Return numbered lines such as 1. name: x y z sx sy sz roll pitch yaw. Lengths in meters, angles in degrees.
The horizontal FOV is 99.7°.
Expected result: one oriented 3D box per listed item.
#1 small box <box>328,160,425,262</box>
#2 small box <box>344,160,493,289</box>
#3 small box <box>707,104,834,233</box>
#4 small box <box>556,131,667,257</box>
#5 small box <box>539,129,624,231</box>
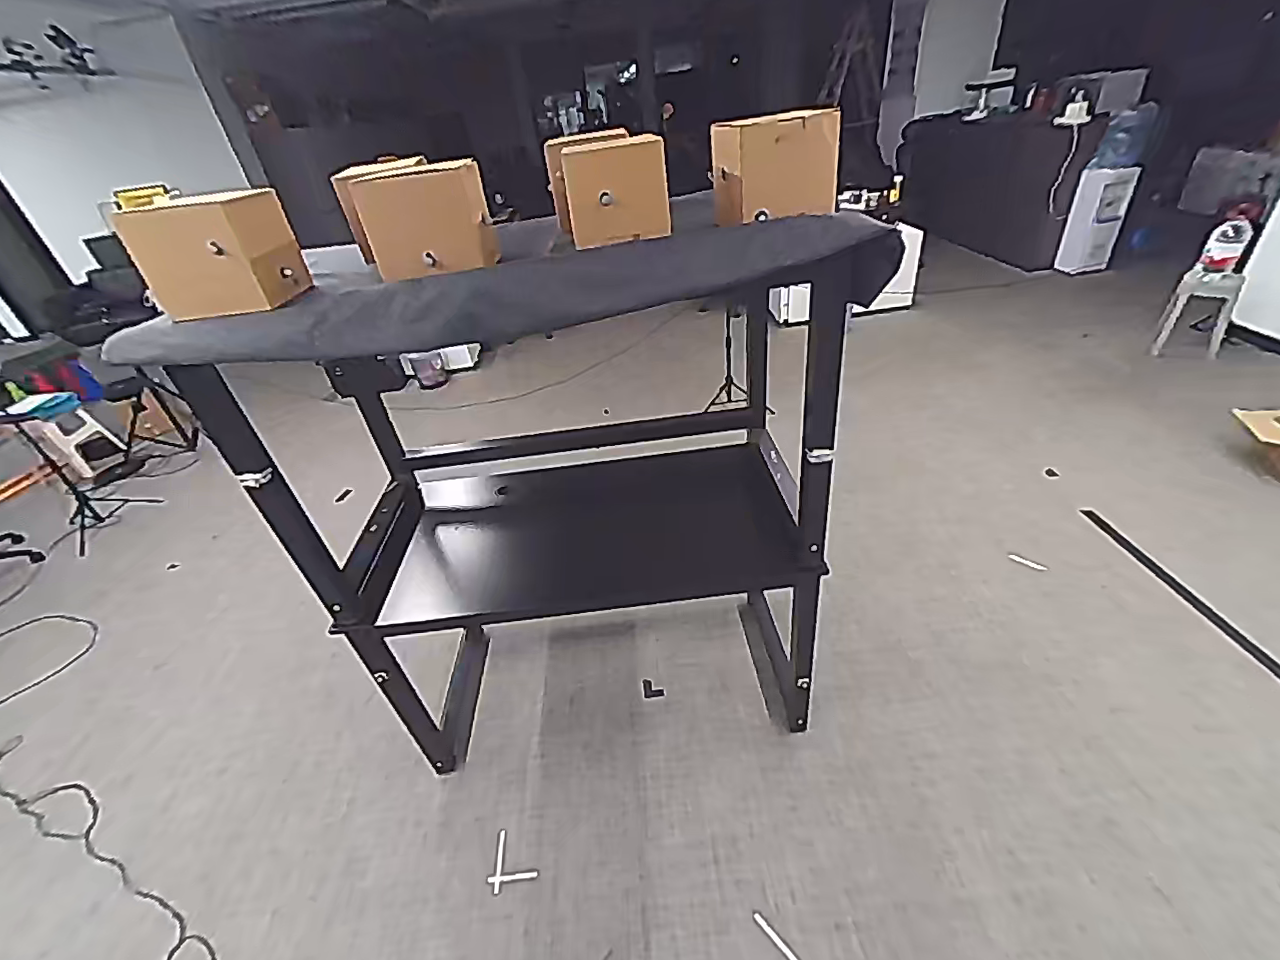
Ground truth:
1. small box: -0.539 -0.588 1.181 0.168 0.176 0.179 -13 35 -4
2. small box: -0.366 -0.443 0.937 0.179 0.176 0.168 -8 33 0
3. small box: 0.224 -0.543 0.949 0.168 0.176 0.179 -11 34 -3
4. small box: -0.049 -0.505 0.960 0.168 0.176 0.179 -9 34 -1
5. small box: -0.112 -0.662 1.194 0.179 0.176 0.168 -8 36 1
